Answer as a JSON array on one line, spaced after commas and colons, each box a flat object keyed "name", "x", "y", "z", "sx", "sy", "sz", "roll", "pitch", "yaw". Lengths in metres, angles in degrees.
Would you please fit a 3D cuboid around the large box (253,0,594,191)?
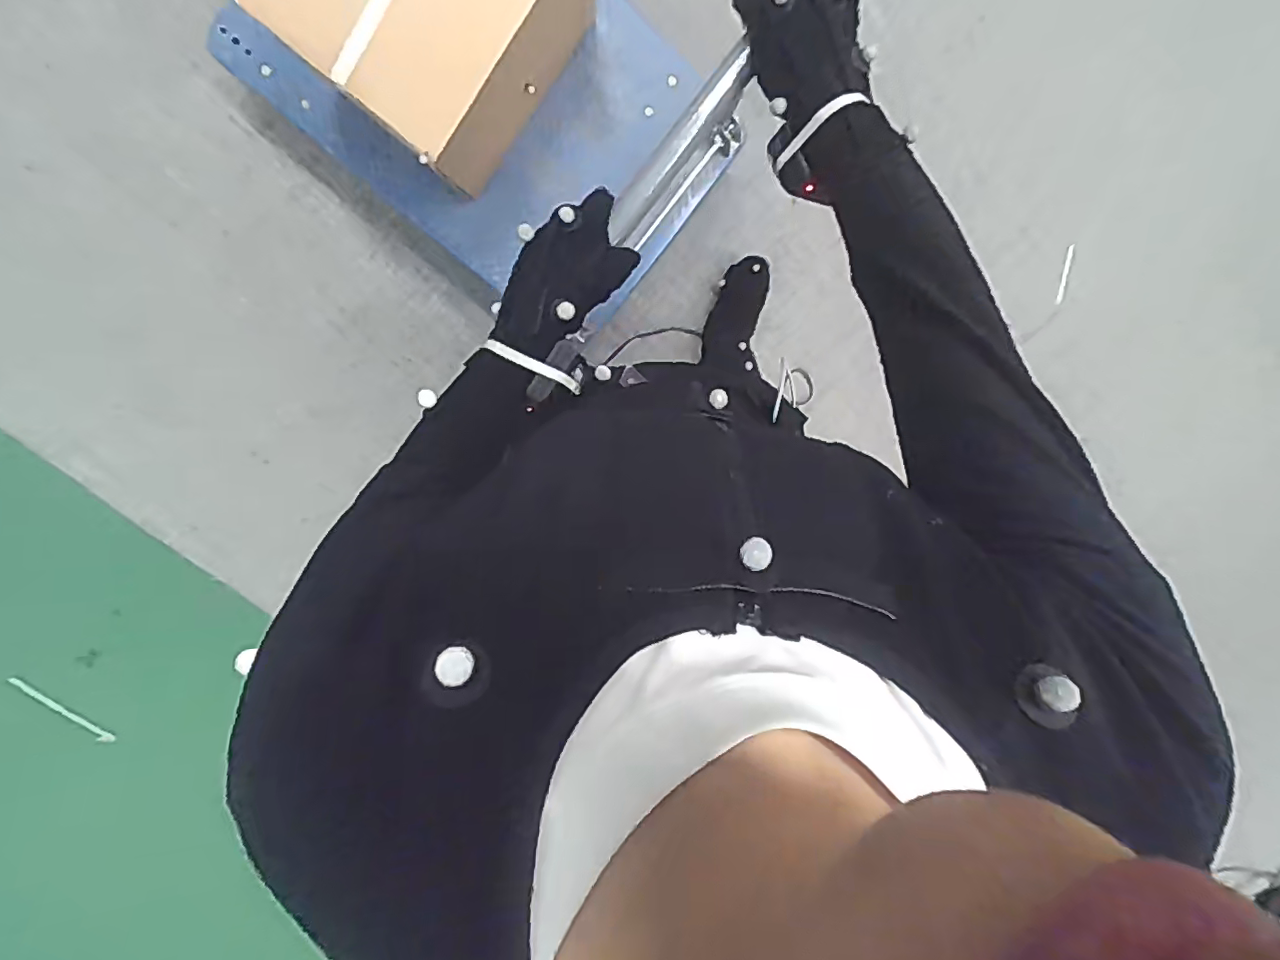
[{"name": "large box", "x": -0.307, "y": -0.767, "z": 0.876, "sx": 0.320, "sy": 0.320, "sz": 0.408, "roll": 36, "pitch": 103, "yaw": -14}]
